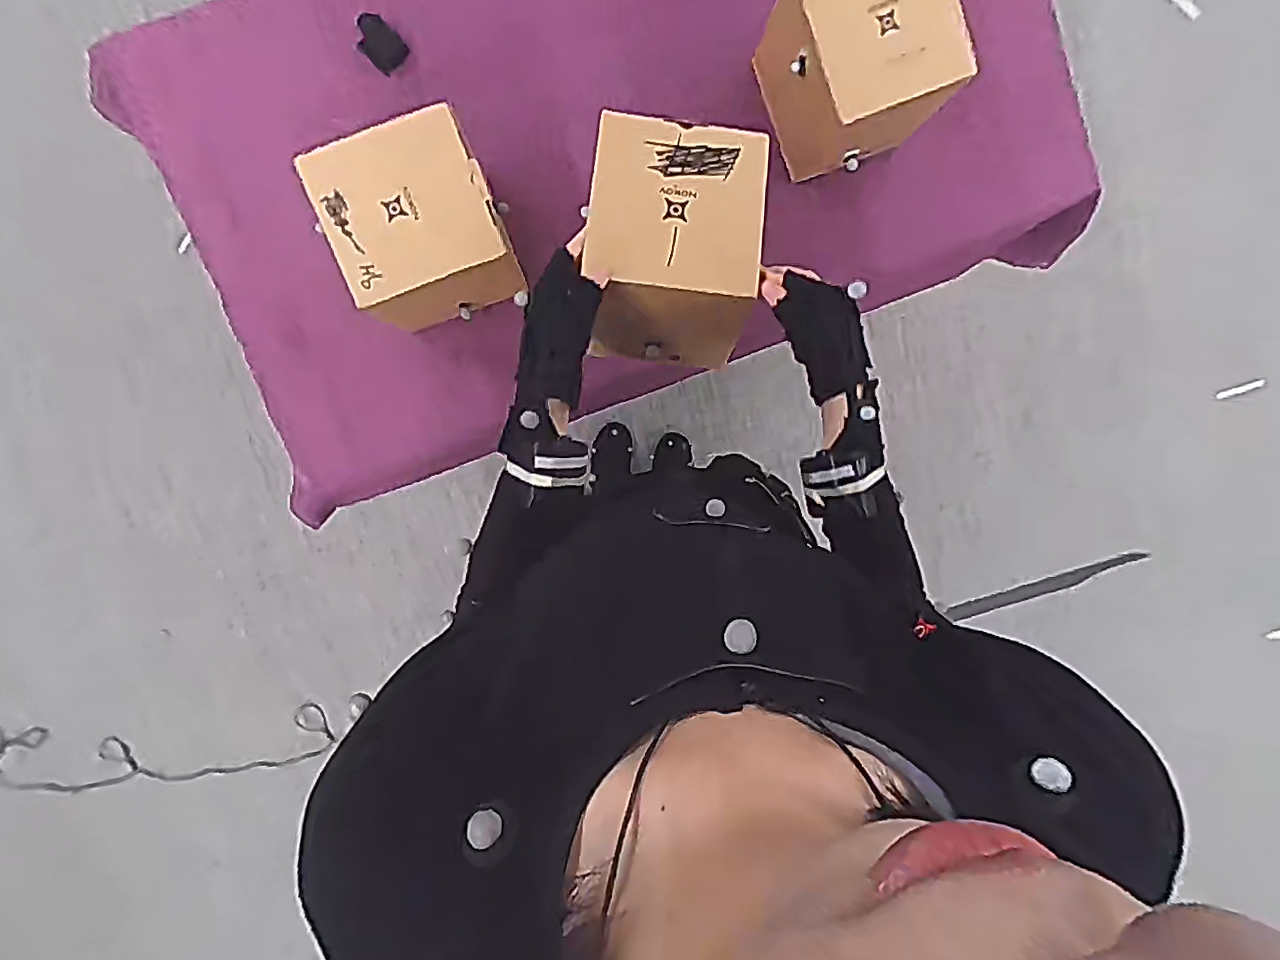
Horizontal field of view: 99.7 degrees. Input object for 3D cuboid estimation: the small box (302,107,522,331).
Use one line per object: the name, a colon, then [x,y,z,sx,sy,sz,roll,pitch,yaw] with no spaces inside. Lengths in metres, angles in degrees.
small box: [-0.253,-0.298,0.656,0.179,0.176,0.168,-21,97,-2]

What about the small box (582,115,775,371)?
small box: [0.035,-0.240,0.582,0.168,0.176,0.179,8,79,0]

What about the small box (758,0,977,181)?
small box: [0.265,-0.514,0.670,0.168,0.176,0.179,-22,98,0]
